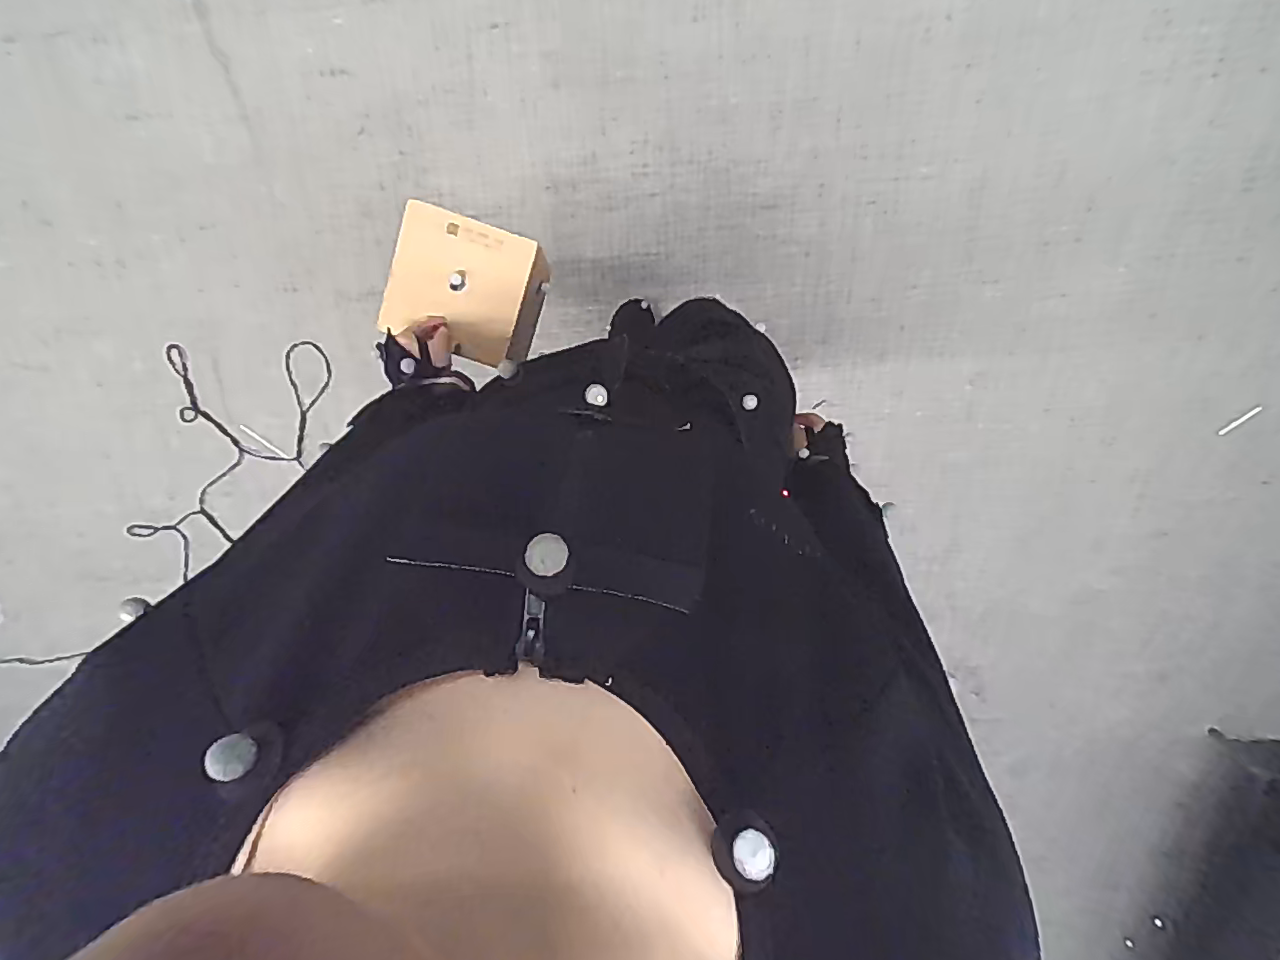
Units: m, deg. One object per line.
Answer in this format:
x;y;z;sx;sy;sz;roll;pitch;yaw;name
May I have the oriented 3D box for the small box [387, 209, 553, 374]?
-0.228;-0.256;0.760;0.168;0.179;0.176;16;99;-6;small box
